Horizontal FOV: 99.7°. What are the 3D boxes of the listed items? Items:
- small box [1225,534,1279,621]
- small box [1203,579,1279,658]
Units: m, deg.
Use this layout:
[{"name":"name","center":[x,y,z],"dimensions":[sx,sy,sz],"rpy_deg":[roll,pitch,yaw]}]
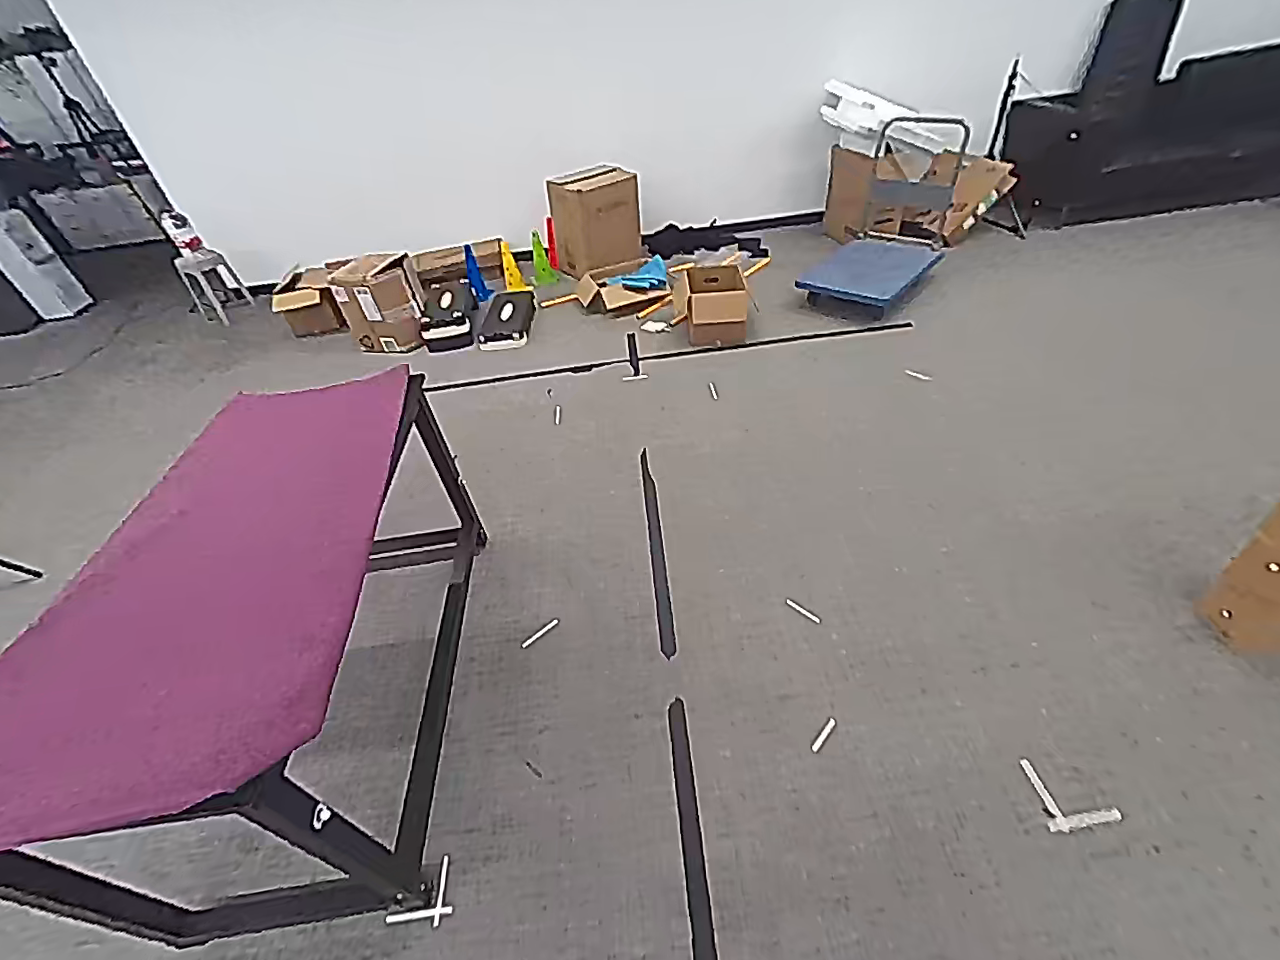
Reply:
[{"name":"small box","center":[1.712,0.253,1.400],"dimensions":[0.168,0.176,0.179],"rpy_deg":[-11,40,-4]},{"name":"small box","center":[1.739,0.378,1.501],"dimensions":[0.179,0.176,0.168],"rpy_deg":[-5,41,2]}]
